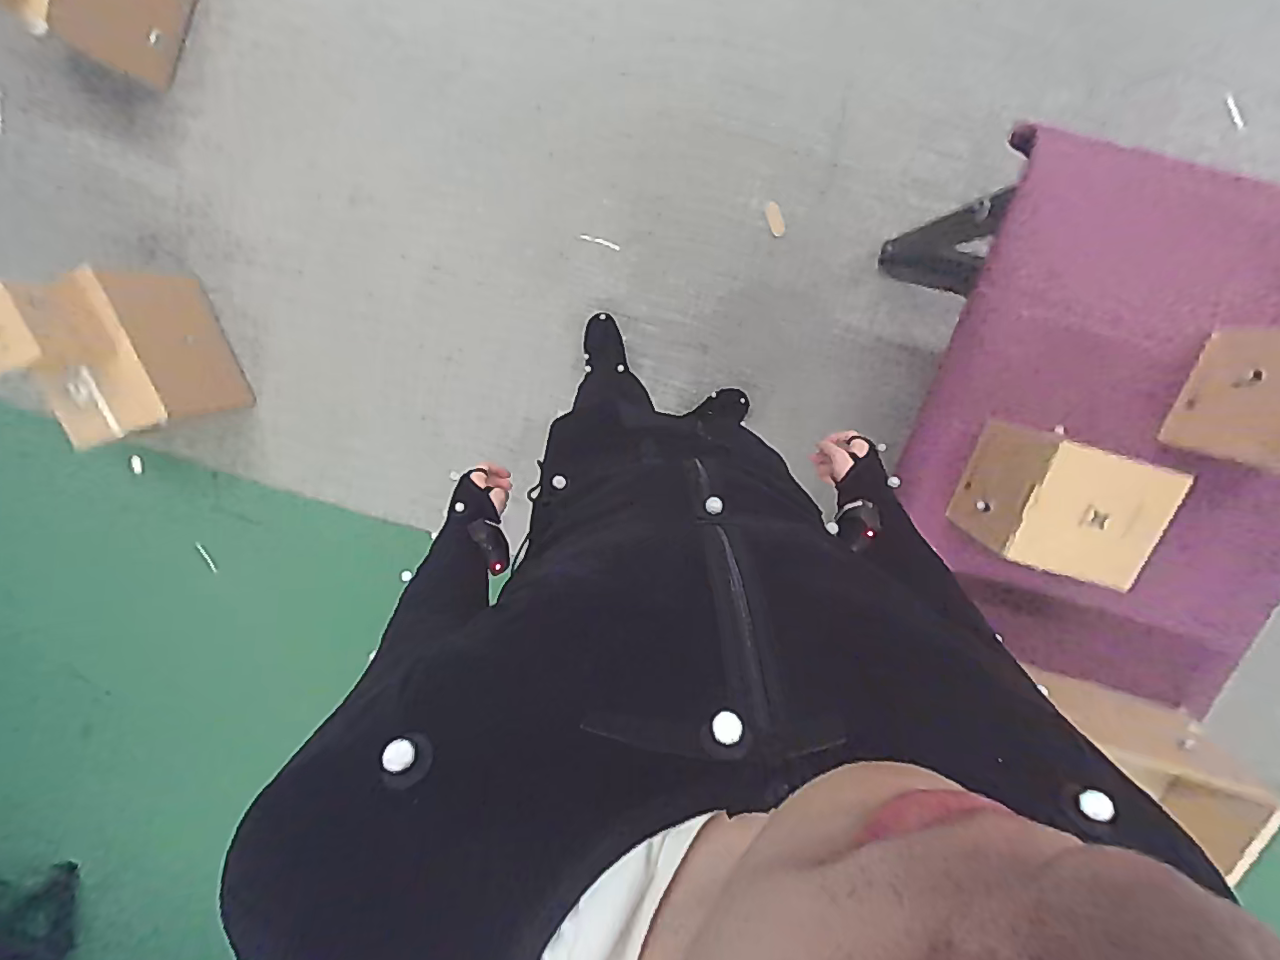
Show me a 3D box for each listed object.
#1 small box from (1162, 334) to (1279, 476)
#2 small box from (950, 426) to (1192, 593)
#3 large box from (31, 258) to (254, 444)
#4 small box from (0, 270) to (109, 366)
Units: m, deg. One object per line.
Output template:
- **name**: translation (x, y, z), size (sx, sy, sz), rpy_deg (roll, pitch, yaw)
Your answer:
- **small box**: translation (0.865, -0.090, 0.709), size (0.179, 0.176, 0.168), rpy_deg (14, 106, 0)
- **small box**: translation (0.583, 0.029, 0.765), size (0.179, 0.176, 0.168), rpy_deg (16, 107, -1)
- **large box**: translation (-1.414, -0.360, 1.522), size (0.320, 0.320, 0.408), rpy_deg (-15, 104, 10)
- **small box**: translation (-1.425, -0.370, 1.262), size (0.168, 0.176, 0.179), rpy_deg (-16, 104, 8)
